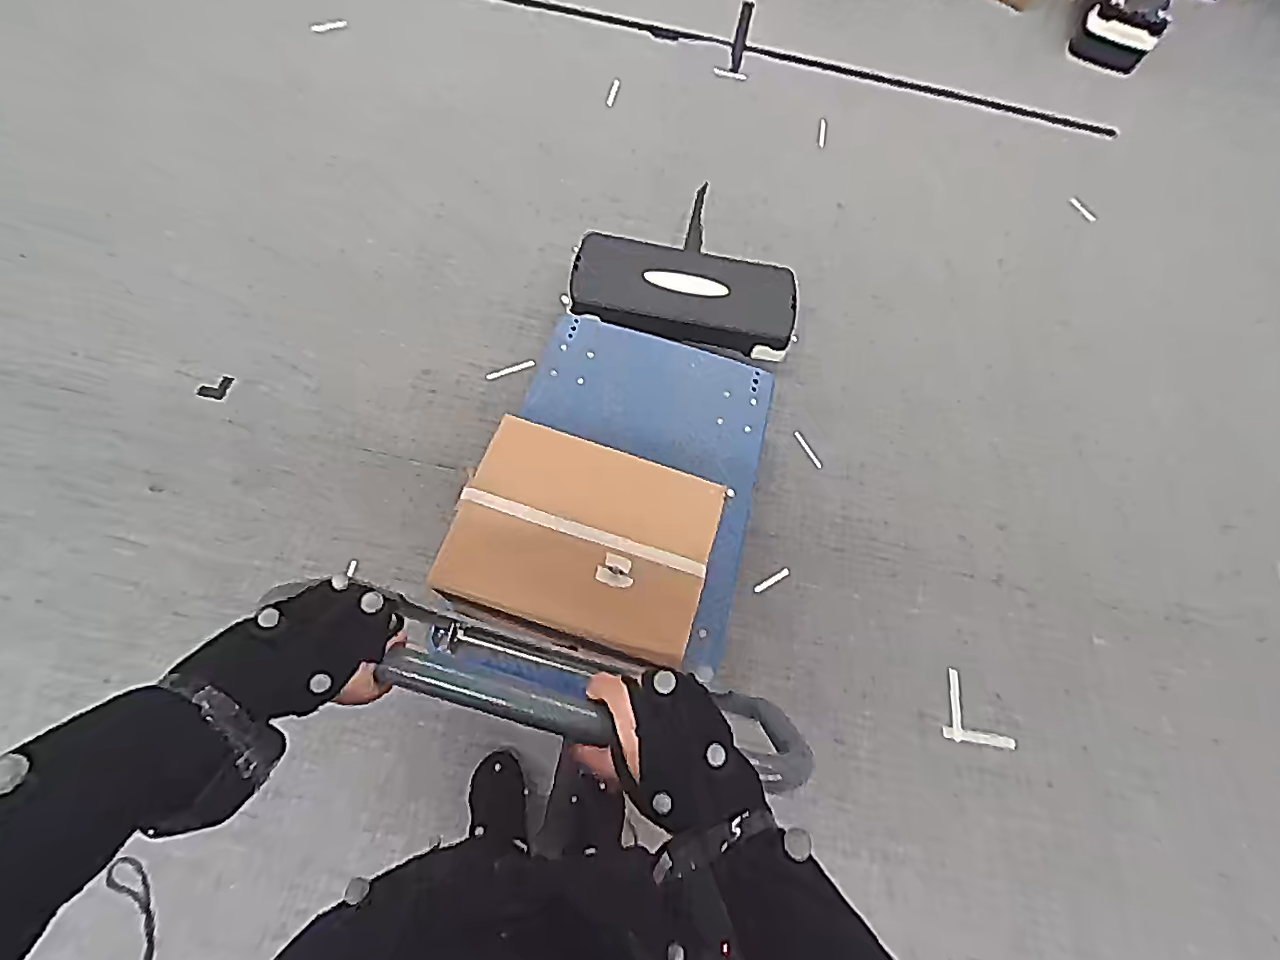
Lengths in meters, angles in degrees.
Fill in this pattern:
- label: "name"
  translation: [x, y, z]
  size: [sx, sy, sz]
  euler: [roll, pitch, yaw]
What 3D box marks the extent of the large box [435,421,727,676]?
- label: "large box"
  translation: [-0.100, 0.144, 1.005]
  size: [0.408, 0.320, 0.320]
  euler: [19, 67, 1]
